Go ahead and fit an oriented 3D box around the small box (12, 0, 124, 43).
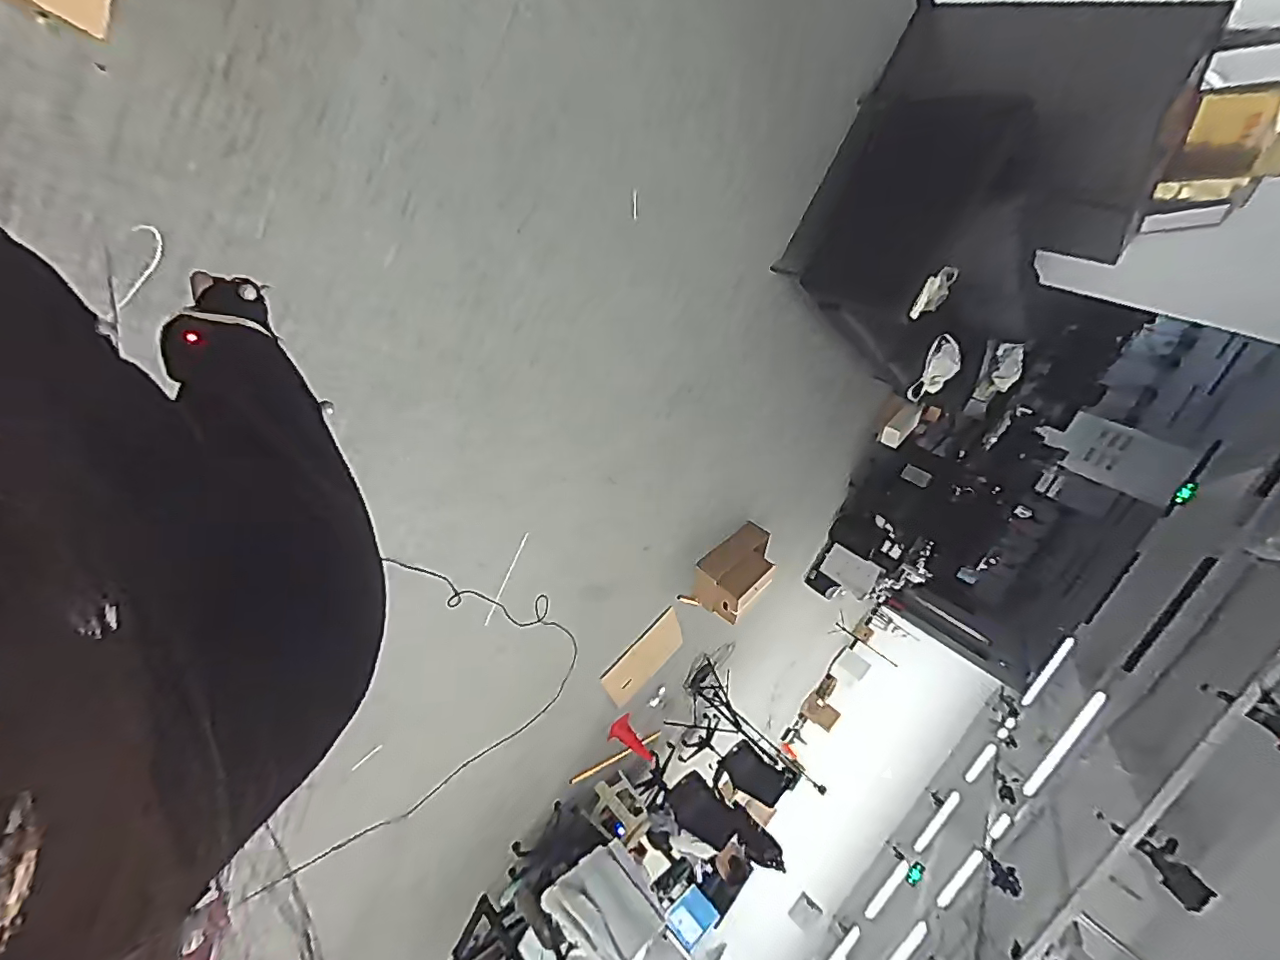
[{"bbox_3d":[-0.673,-0.615,0.573,0.179,0.176,0.168,10,109,-55],"label":"small box"}]
